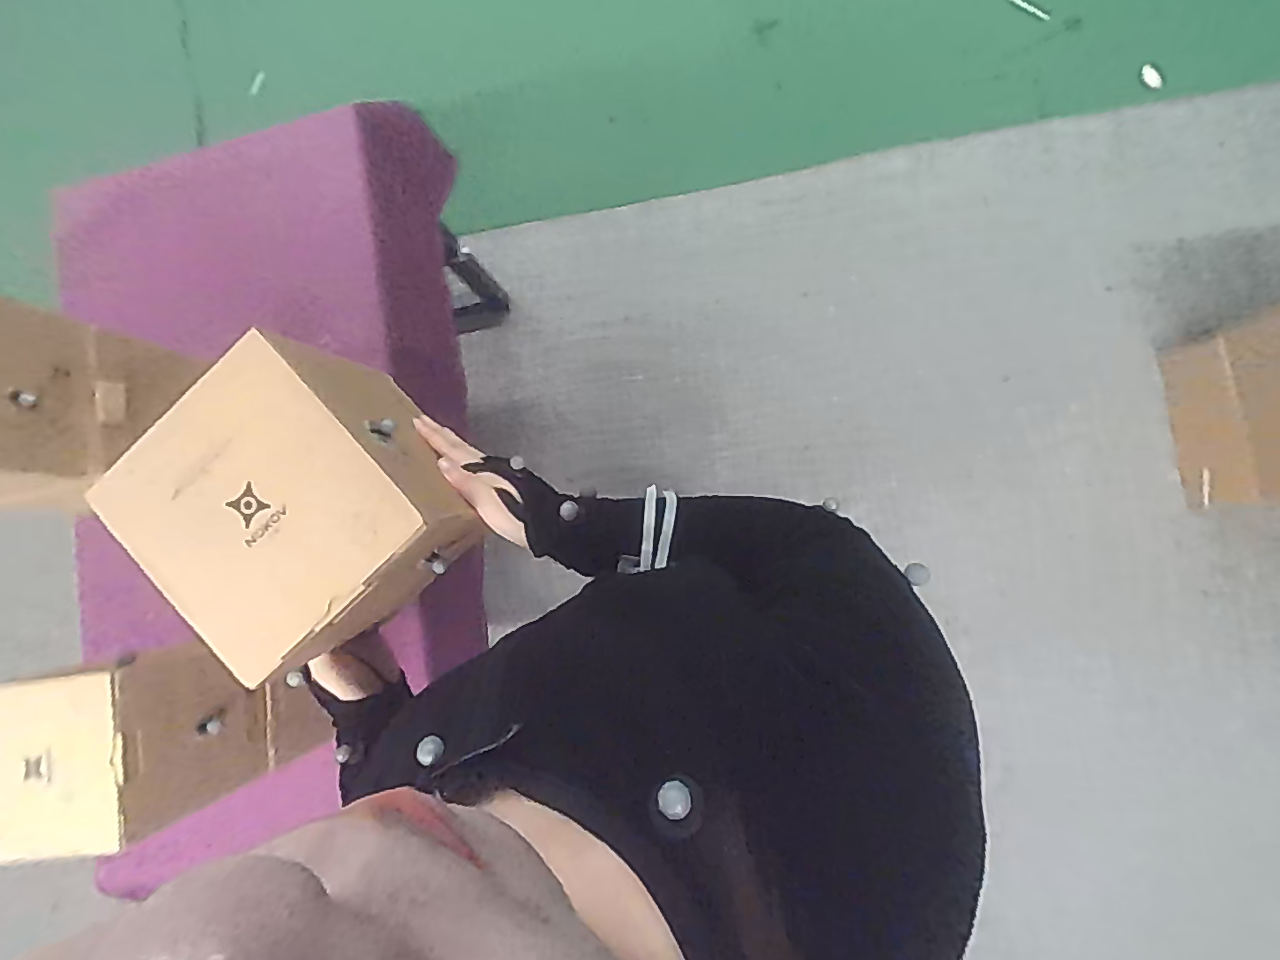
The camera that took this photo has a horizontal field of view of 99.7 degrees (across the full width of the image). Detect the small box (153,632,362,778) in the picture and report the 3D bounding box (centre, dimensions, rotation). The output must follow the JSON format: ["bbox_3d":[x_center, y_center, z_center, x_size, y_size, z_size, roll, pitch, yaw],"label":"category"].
[{"bbox_3d":[-0.526,0.301,0.757,0.179,0.176,0.168,-10,84,7],"label":"small box"}]

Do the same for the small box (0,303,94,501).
[{"bbox_3d":[-0.649,-0.067,0.477,0.179,0.176,0.168,-12,83,7],"label":"small box"}]

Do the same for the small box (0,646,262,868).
[{"bbox_3d":[-0.553,0.287,0.596,0.179,0.176,0.168,-10,83,7],"label":"small box"}]

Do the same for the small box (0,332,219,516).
[{"bbox_3d":[-0.615,-0.052,0.636,0.179,0.176,0.168,-11,84,9],"label":"small box"}]

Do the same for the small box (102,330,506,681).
[{"bbox_3d":[-0.237,0.016,0.431,0.168,0.176,0.179,-41,87,3],"label":"small box"}]
